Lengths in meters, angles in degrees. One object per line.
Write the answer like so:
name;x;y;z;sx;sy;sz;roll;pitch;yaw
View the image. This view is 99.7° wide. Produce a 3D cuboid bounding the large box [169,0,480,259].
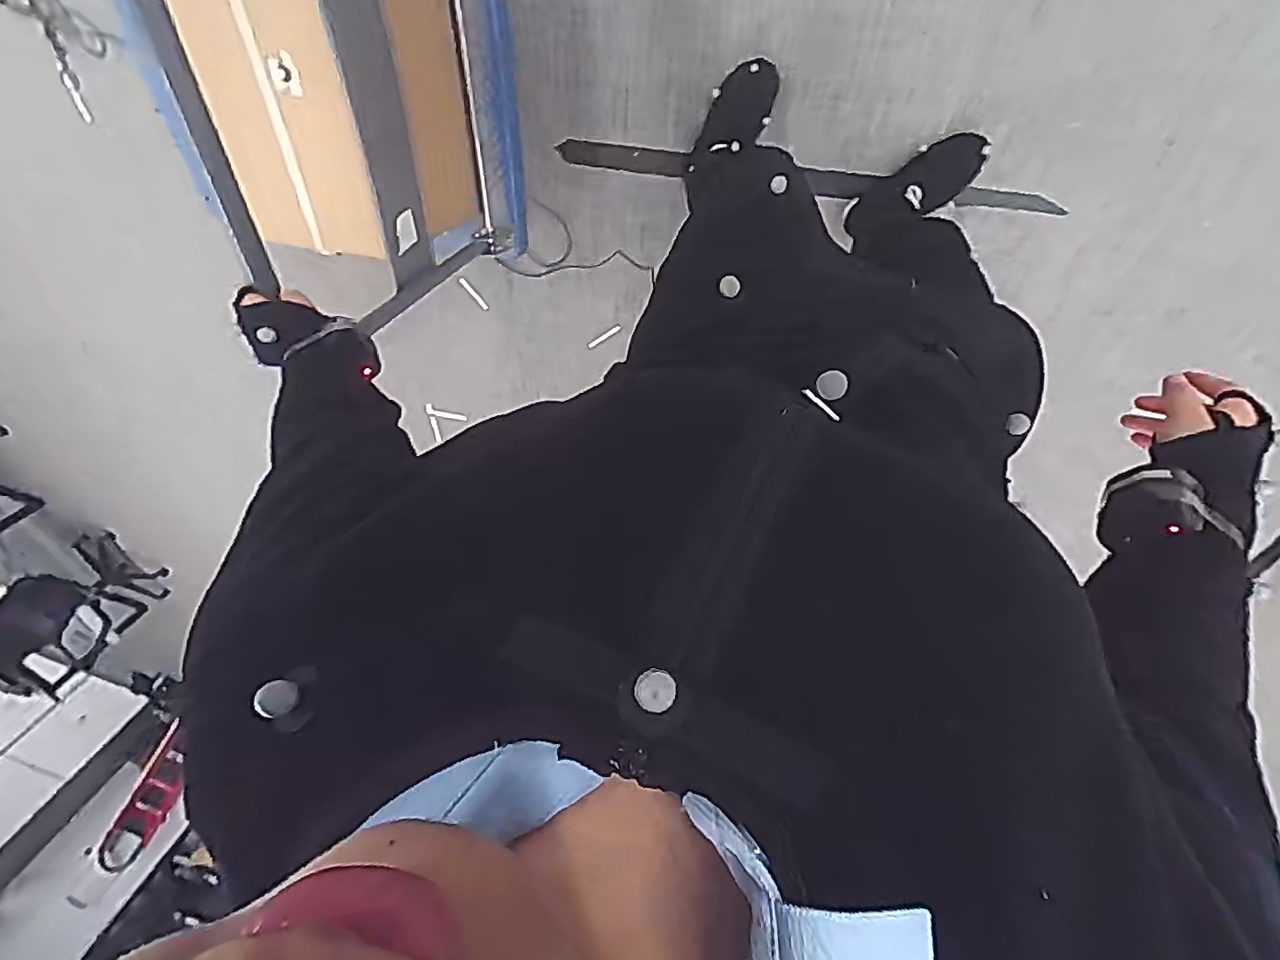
large box;-0.531;-0.671;0.995;0.320;0.320;0.408;12;131;10
